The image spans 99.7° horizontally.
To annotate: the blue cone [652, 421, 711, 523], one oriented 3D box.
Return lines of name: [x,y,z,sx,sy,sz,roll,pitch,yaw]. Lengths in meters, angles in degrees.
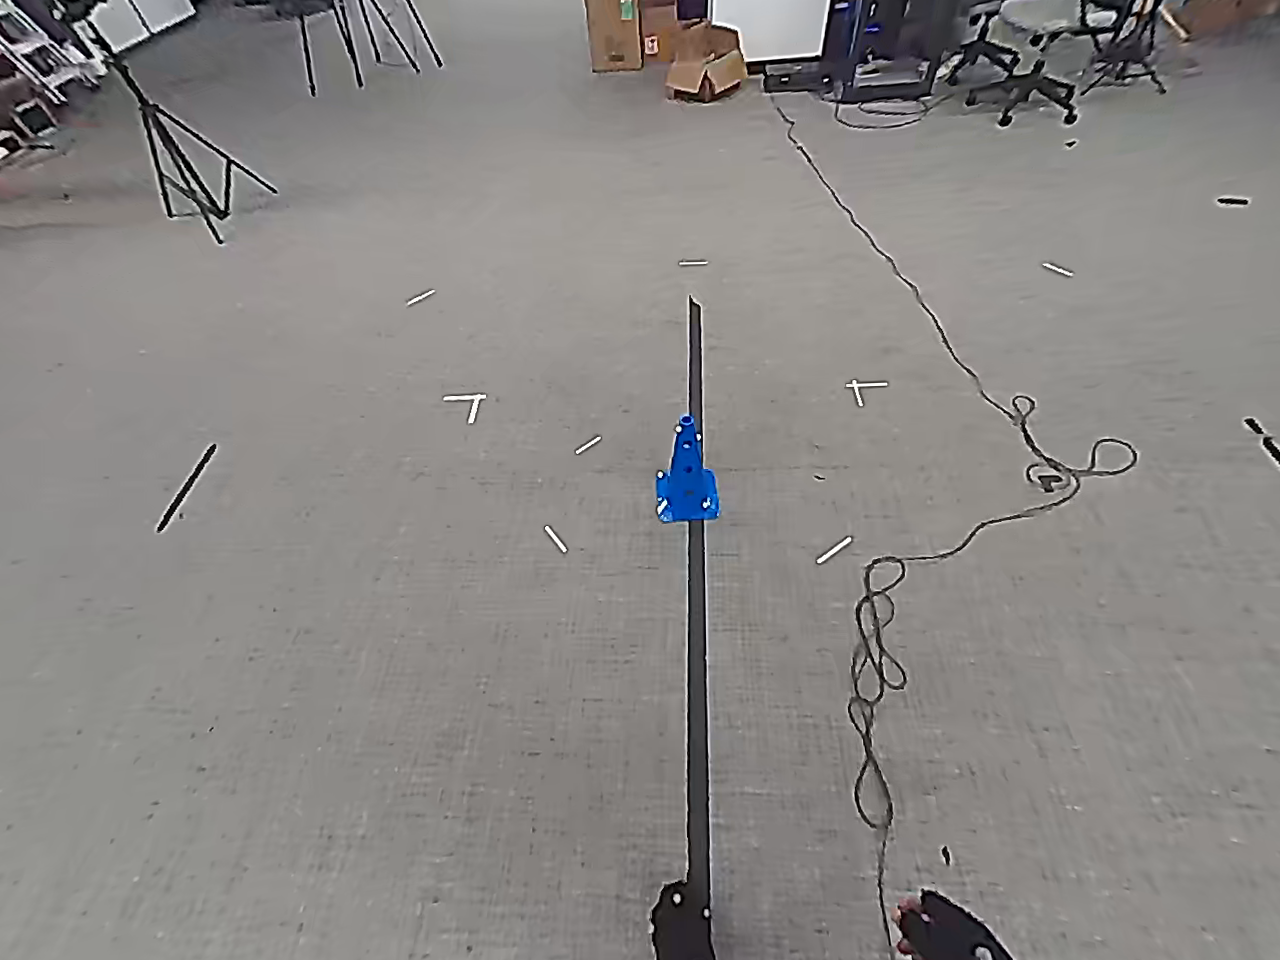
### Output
blue cone: [0.122,-0.042,1.657,0.192,0.380,0.193,-4,51,3]
